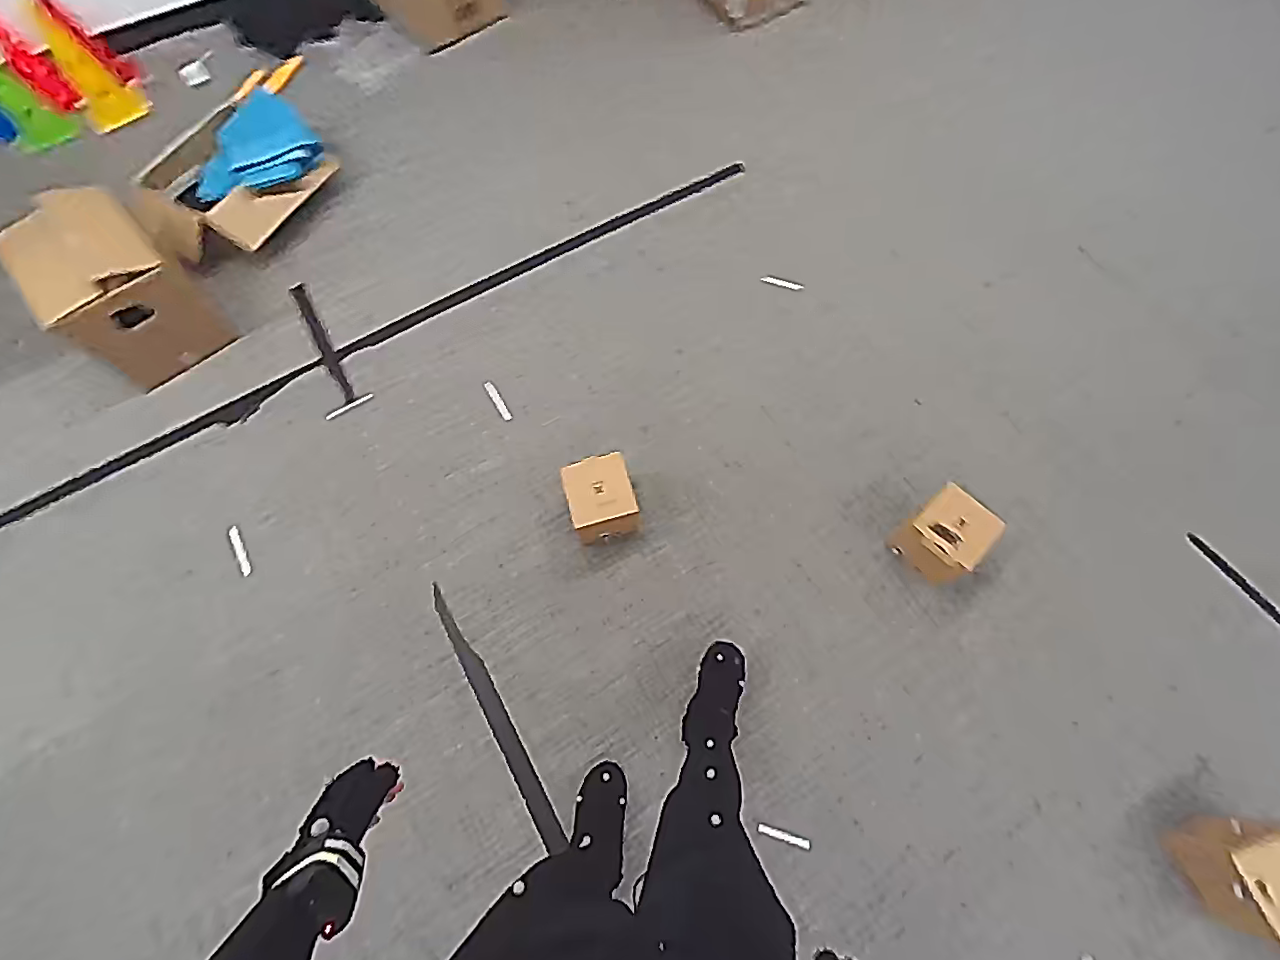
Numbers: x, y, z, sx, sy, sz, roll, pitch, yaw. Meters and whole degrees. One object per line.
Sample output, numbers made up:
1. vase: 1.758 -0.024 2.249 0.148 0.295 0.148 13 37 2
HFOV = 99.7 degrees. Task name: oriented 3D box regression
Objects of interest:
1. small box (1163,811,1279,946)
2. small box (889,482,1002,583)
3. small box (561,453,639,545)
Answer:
1. small box: 1.279 0.820 1.130 0.179 0.176 0.168 -16 68 -7
2. small box: 0.782 0.143 1.410 0.179 0.176 0.168 -42 73 -16
3. small box: -0.104 0.055 1.442 0.168 0.176 0.179 -16 70 -5
